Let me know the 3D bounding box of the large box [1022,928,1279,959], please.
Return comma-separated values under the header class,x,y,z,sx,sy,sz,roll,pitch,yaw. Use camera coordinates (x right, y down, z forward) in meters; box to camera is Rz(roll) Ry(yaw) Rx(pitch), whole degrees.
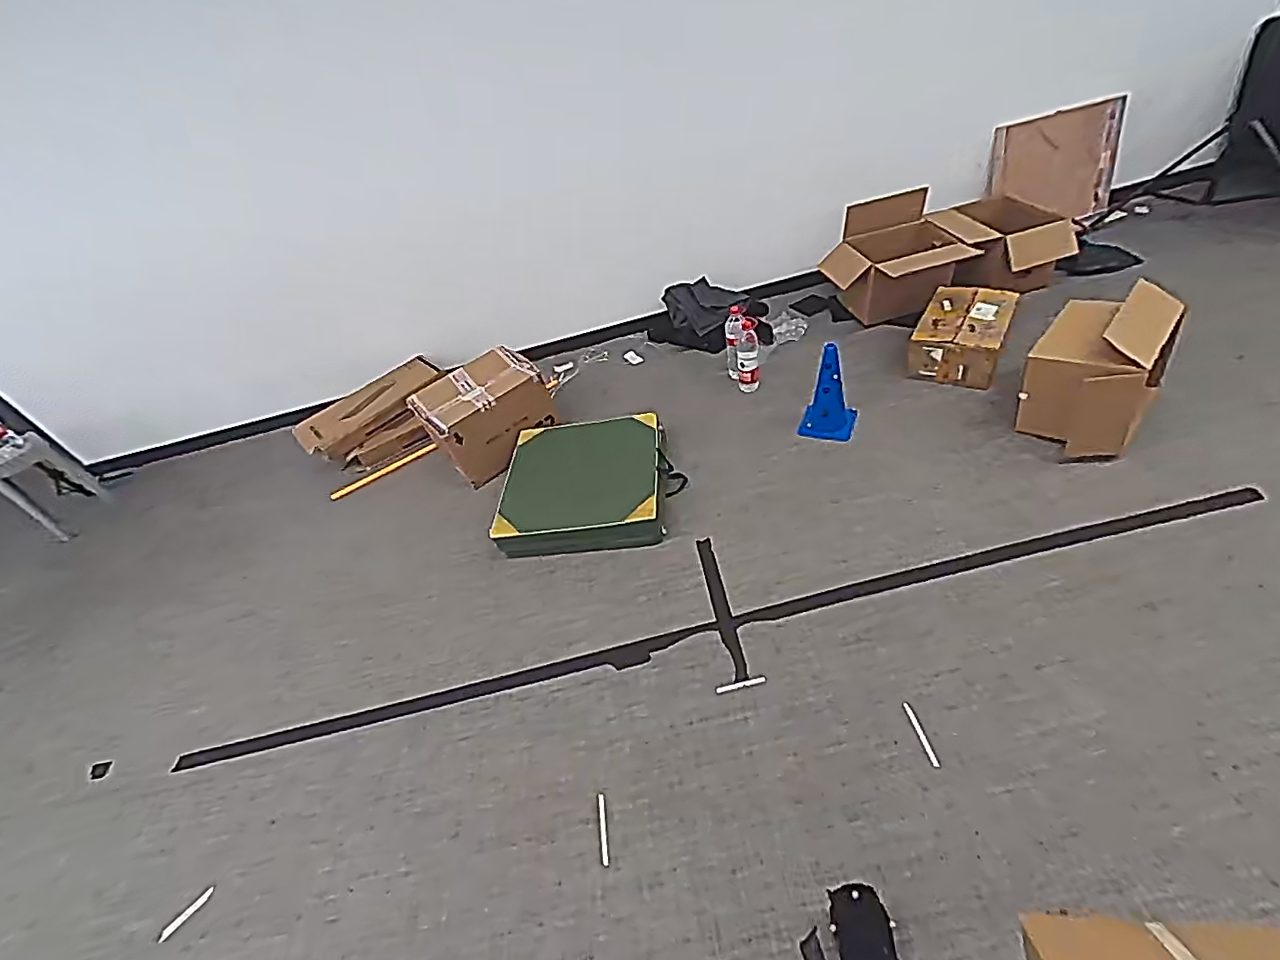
class,x,y,z,sx,sy,sz,roll,pitch,yaw
large box,0.628,0.721,0.495,0.320,0.408,0.320,-8,80,15
